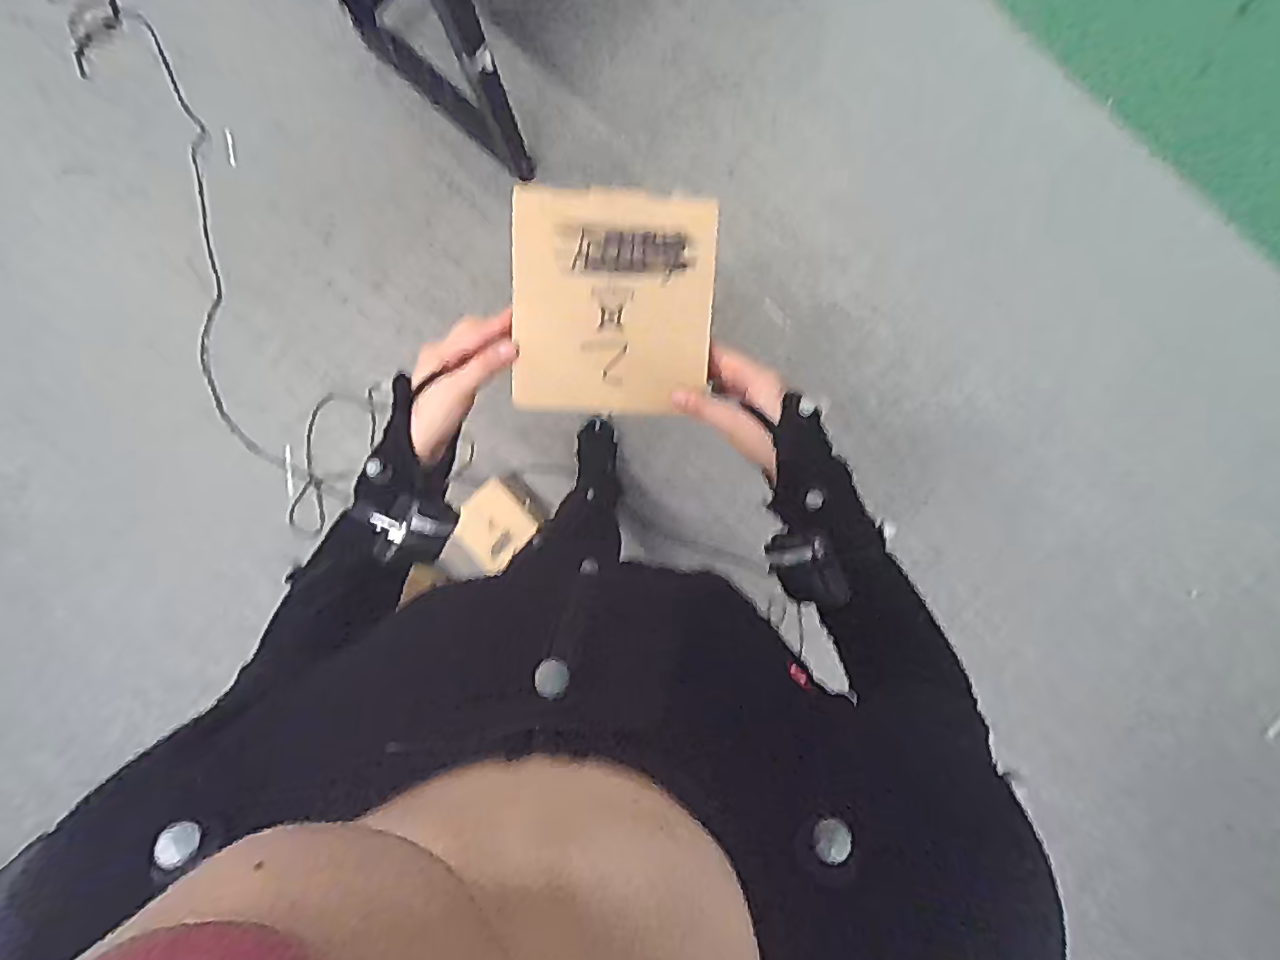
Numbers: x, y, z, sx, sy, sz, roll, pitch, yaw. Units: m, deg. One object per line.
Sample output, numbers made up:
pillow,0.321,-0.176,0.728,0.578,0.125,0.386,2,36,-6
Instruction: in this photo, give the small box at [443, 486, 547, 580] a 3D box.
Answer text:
small box,-0.362,0.126,1.391,0.168,0.176,0.179,-42,90,0

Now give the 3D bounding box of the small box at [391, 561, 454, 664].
small box,-0.604,0.331,1.391,0.168,0.176,0.179,39,91,-1
